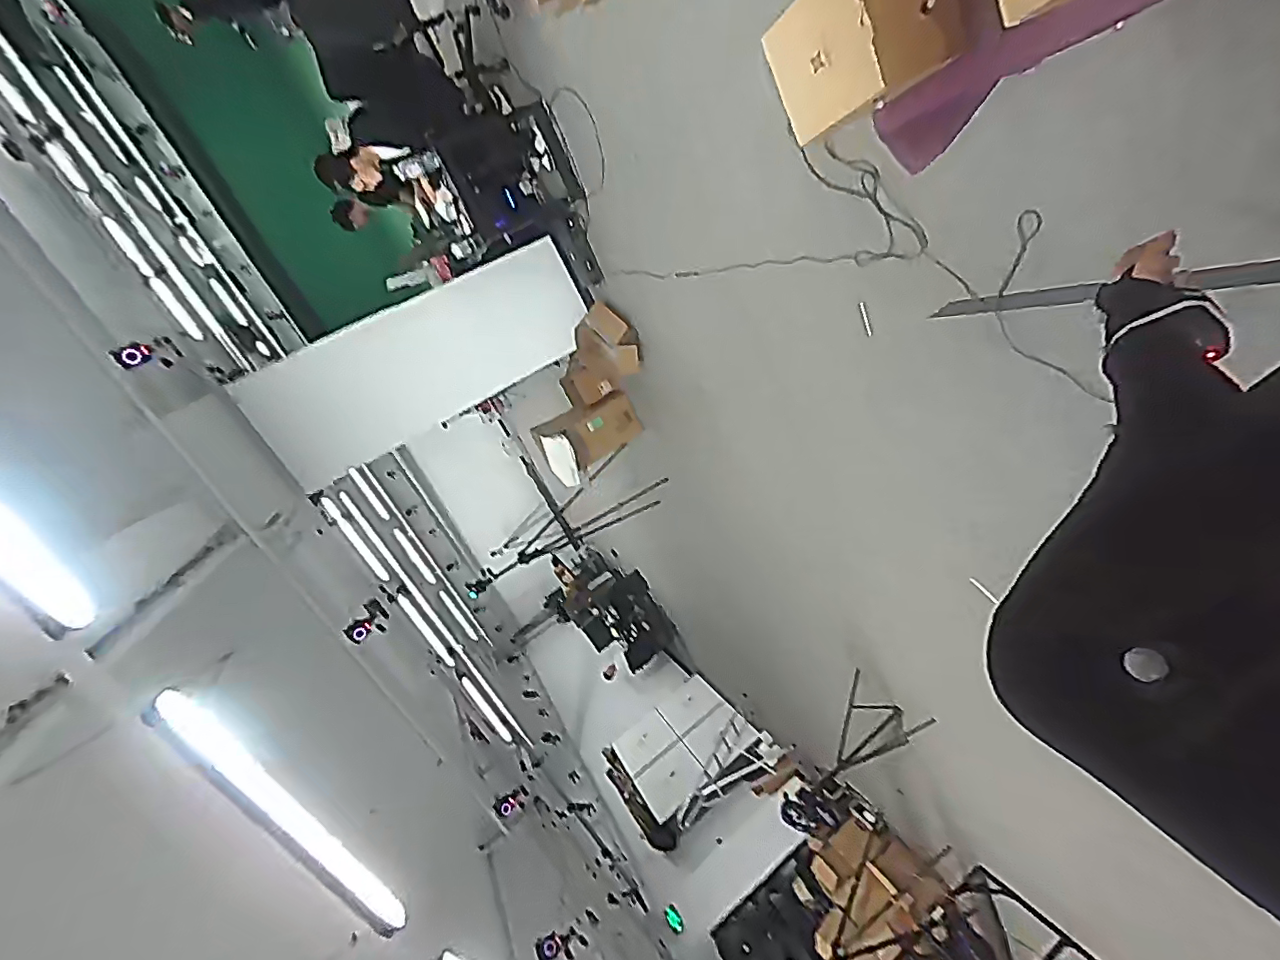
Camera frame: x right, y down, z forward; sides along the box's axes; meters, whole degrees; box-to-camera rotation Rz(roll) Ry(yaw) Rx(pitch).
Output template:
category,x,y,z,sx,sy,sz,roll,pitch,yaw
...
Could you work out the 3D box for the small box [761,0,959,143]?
category,x,y,z,sx,sy,sz,roll,pitch,yaw
small box,0.316,-0.637,0.786,0.168,0.176,0.179,62,162,-17
